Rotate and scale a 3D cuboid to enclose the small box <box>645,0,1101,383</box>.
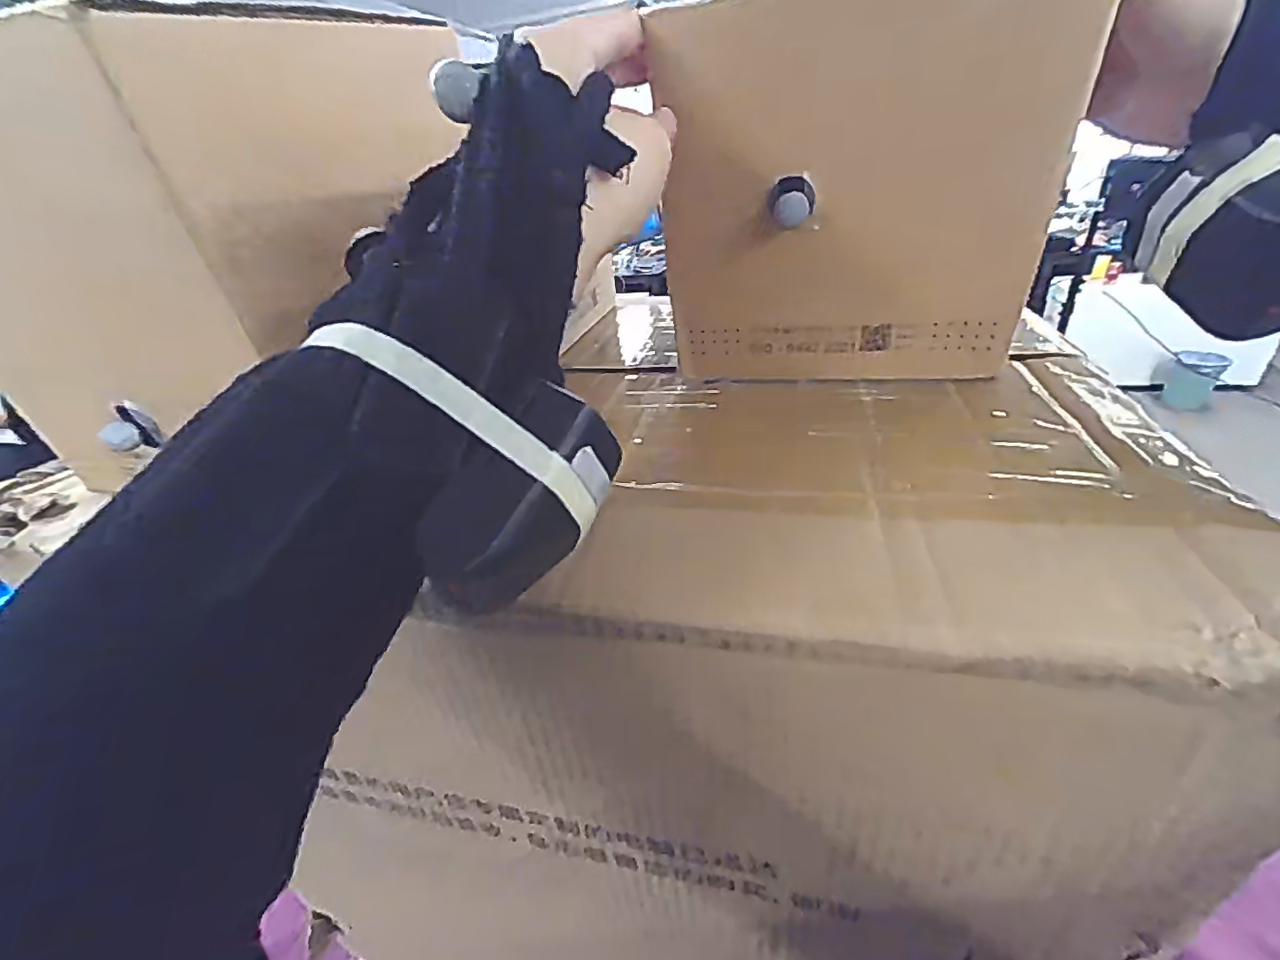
[{"bbox_3d":[0.112,-0.165,0.303,0.168,0.176,0.179,2,40,16],"label":"small box"}]
